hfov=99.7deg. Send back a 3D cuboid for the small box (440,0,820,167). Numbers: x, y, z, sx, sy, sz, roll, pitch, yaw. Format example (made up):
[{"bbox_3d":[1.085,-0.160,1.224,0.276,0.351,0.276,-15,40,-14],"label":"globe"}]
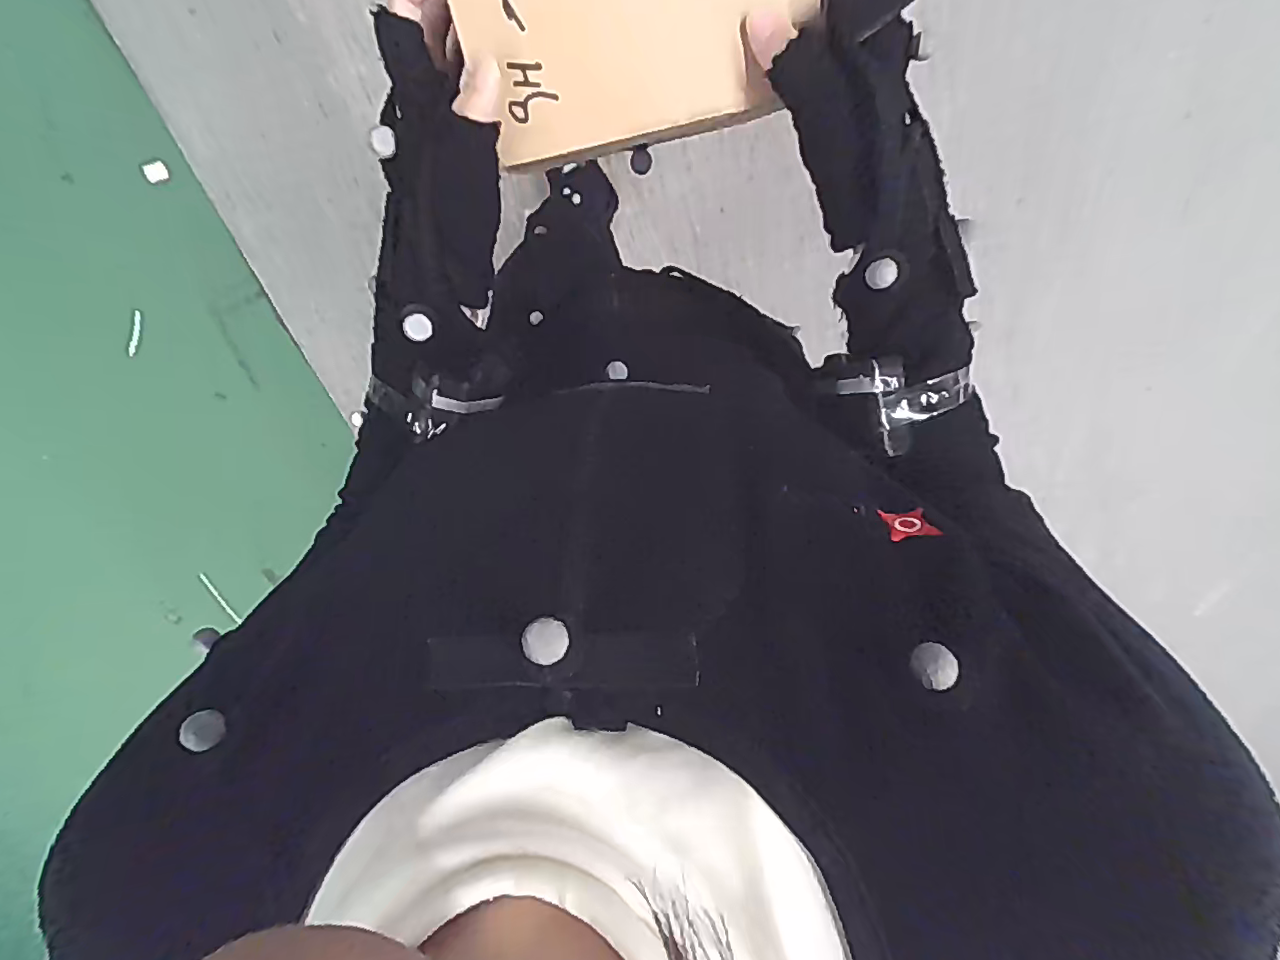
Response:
[{"bbox_3d":[-0.019,-0.291,0.305,0.179,0.176,0.168,-15,119,2],"label":"small box"}]
